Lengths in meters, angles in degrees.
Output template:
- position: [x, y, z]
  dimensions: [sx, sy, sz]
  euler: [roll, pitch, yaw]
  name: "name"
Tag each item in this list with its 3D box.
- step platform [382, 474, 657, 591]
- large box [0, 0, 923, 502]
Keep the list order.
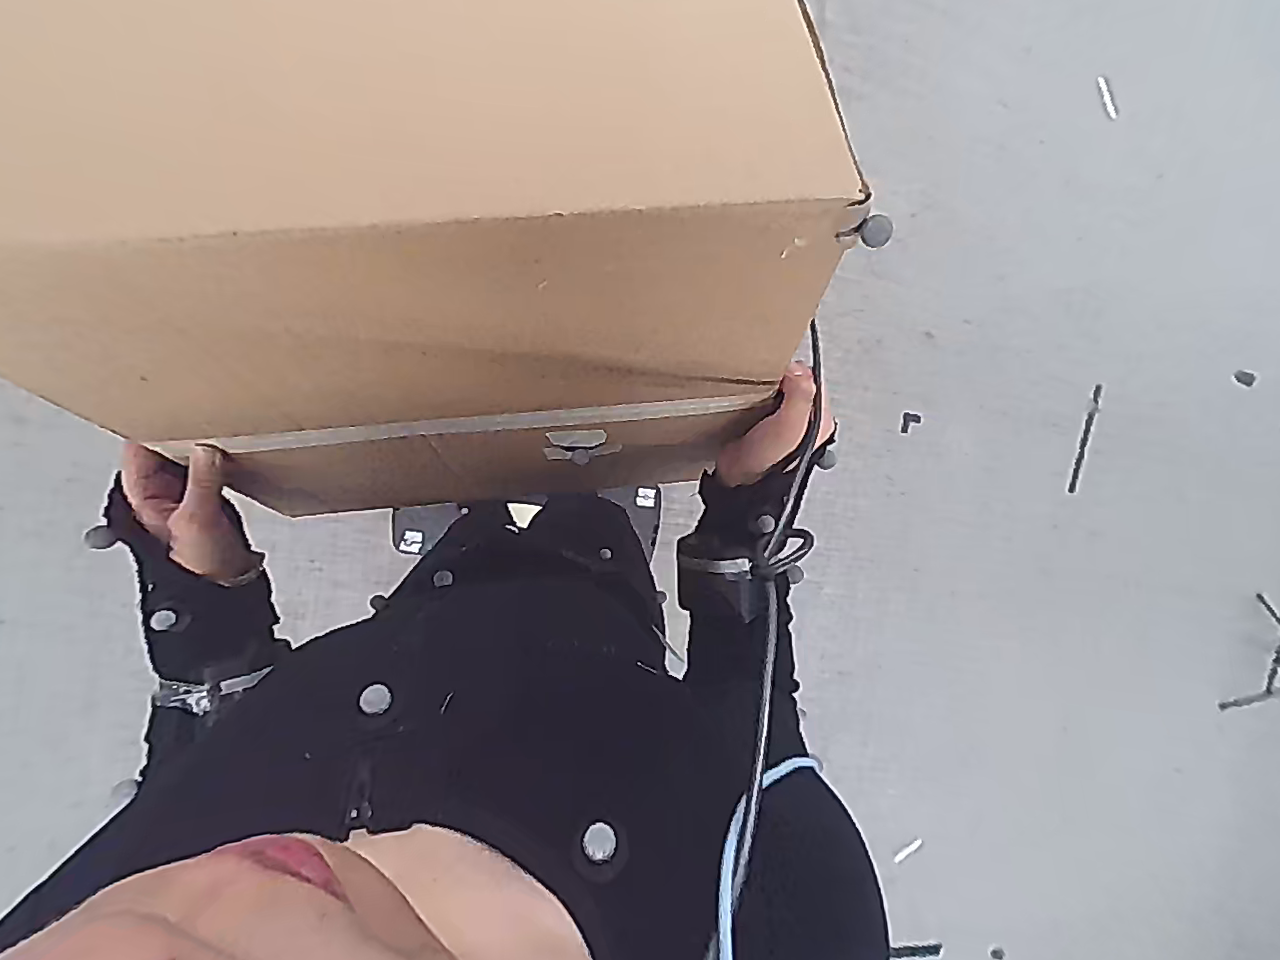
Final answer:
- position: [-0.301, 0.084, 1.431]
  dimensions: [0.684, 0.204, 0.286]
  euler: [15, 93, -13]
  name: "step platform"
- position: [-0.110, -0.194, 0.382]
  dimensions: [0.408, 0.320, 0.320]
  euler: [-5, 70, -4]
  name: "large box"
